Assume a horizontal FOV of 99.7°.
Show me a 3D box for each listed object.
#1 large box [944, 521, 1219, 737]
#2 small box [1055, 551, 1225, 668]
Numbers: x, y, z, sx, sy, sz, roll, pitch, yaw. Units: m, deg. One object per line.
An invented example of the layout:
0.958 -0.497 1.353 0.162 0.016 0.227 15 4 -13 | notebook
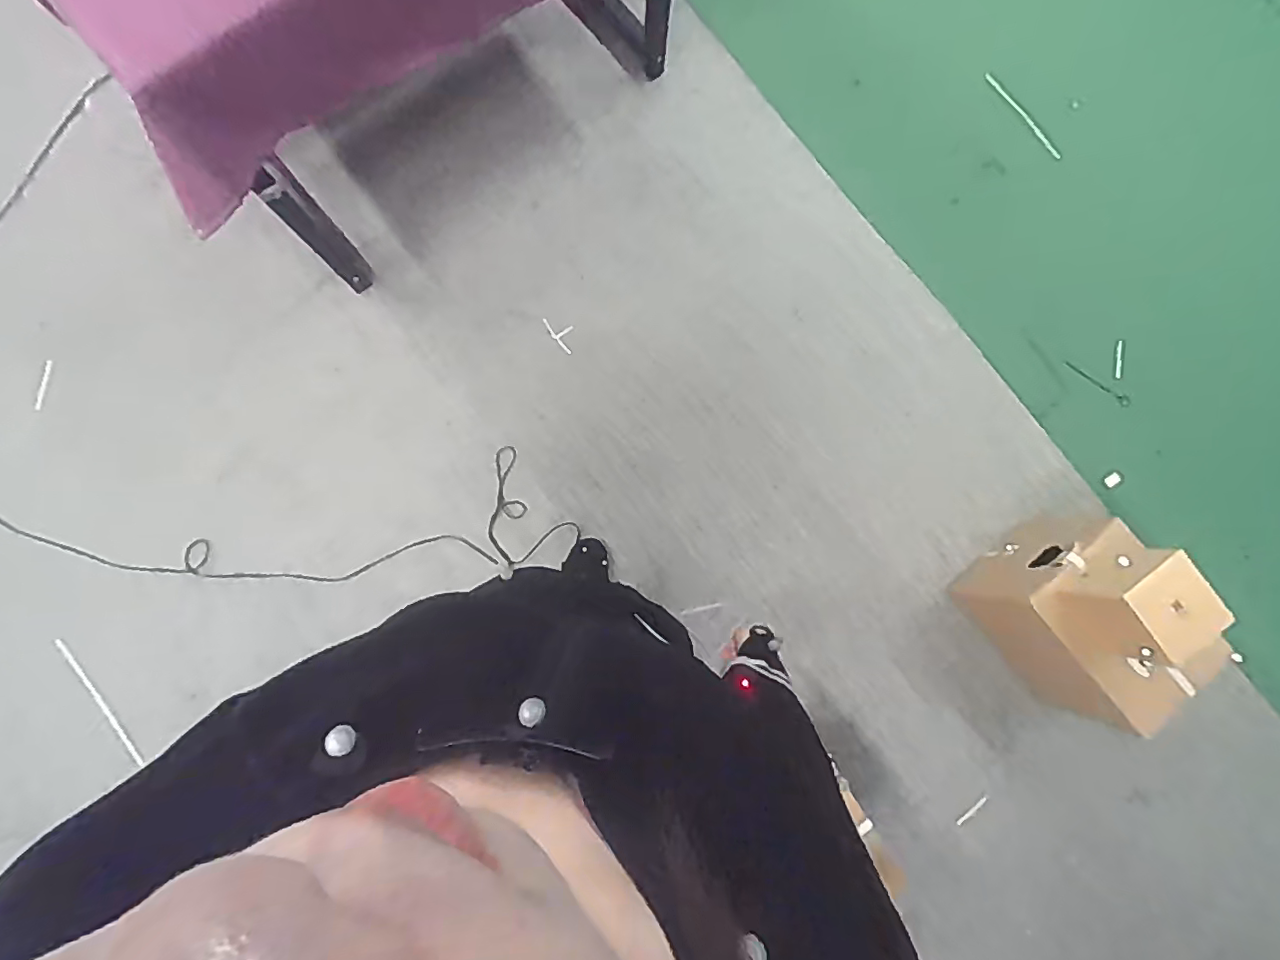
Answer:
1.107 0.358 1.402 0.320 0.320 0.408 -38 88 -7 | large box
1.057 0.270 1.162 0.168 0.176 0.179 -34 88 -6 | small box
